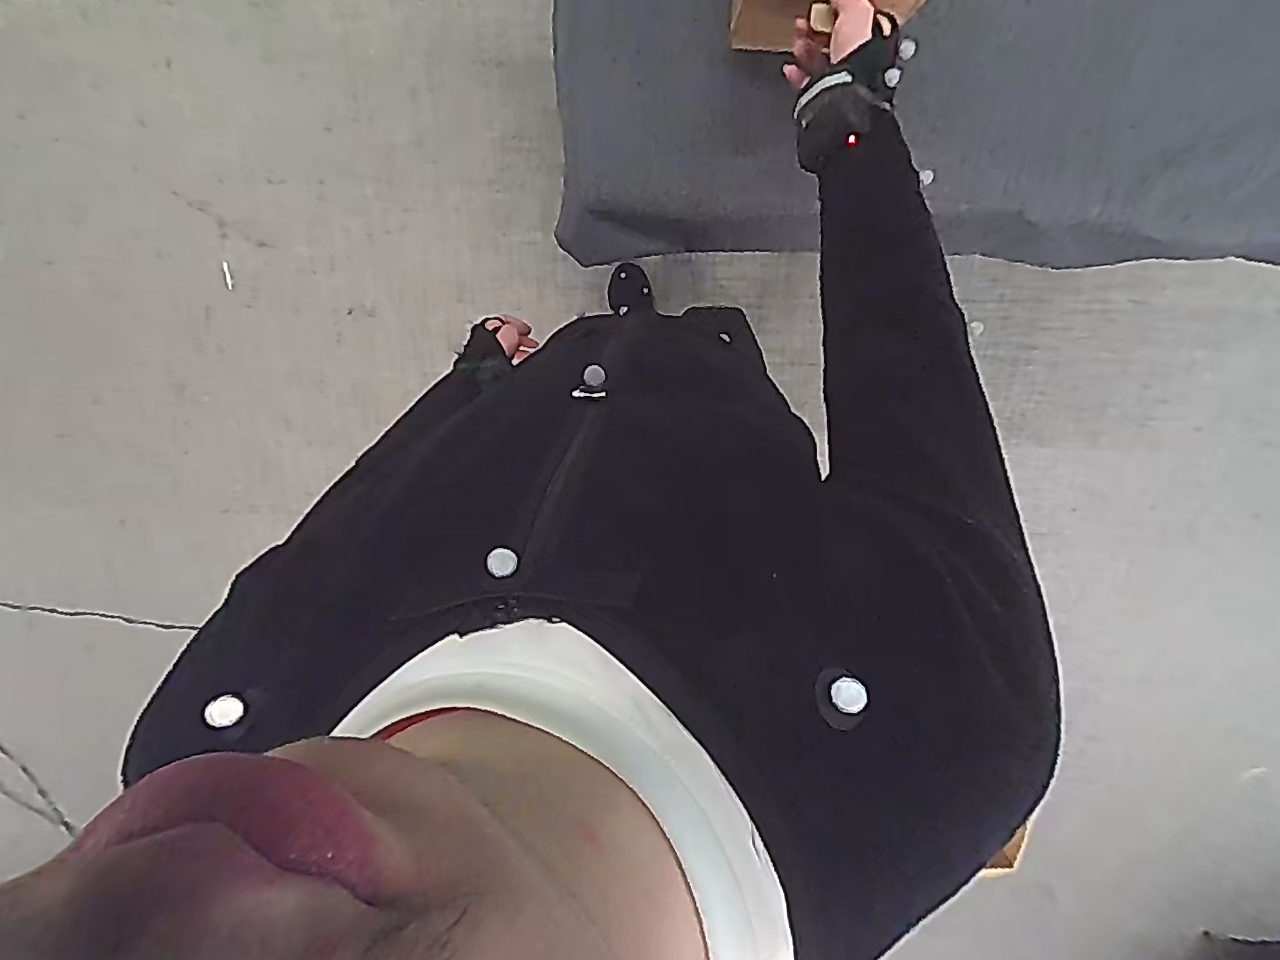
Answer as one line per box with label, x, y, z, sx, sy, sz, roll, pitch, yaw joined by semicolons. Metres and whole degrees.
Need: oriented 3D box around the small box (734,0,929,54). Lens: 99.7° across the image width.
small box;0.189;-0.545;0.525;0.168;0.176;0.179;3;113;-1
